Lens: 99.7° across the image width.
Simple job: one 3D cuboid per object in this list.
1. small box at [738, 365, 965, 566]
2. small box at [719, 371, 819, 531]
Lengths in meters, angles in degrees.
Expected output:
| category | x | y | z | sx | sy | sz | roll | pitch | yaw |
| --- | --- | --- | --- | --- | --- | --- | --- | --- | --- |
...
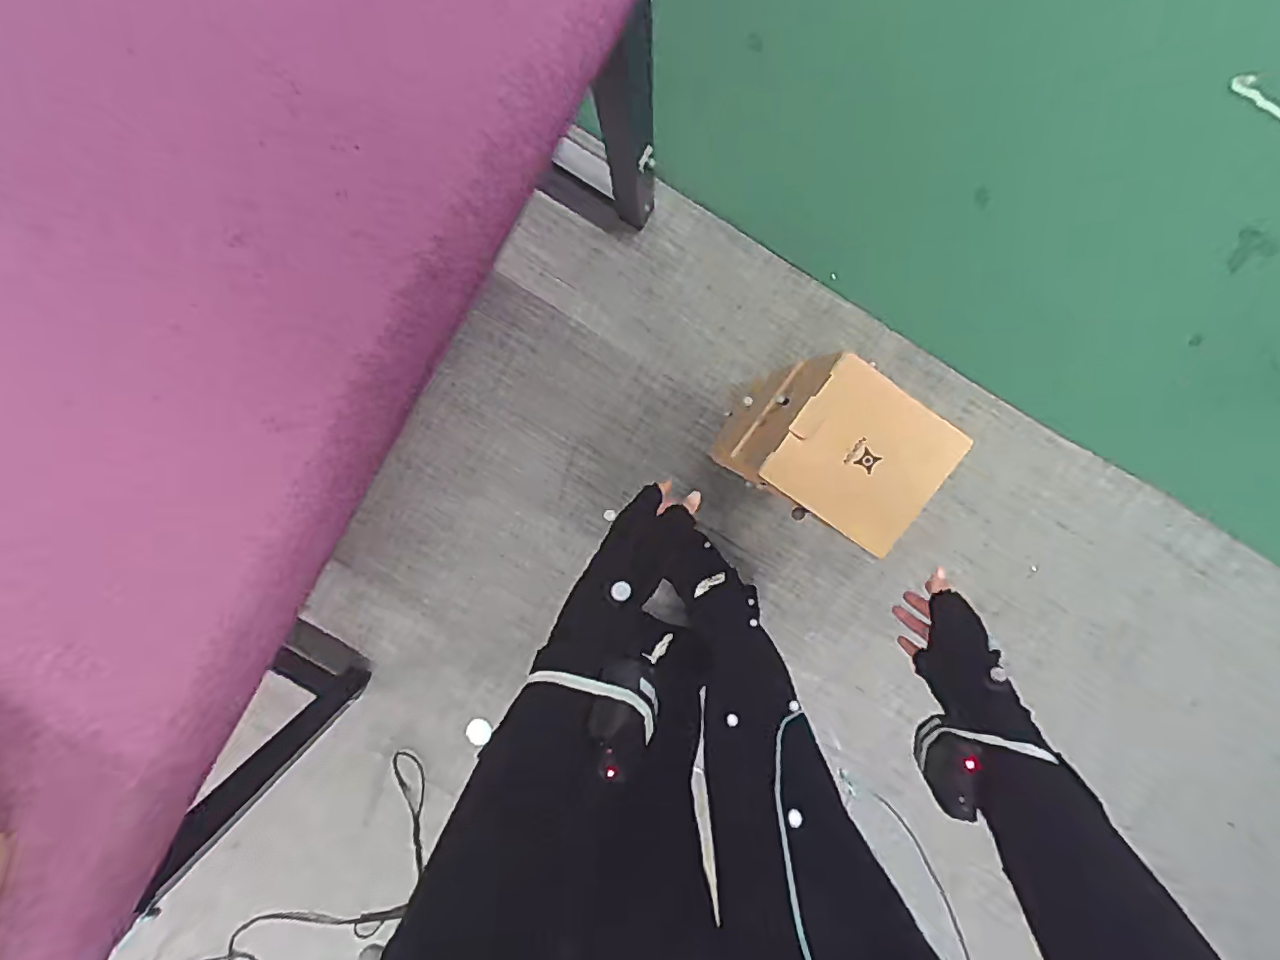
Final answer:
| category | x | y | z | sx | sy | sz | roll | pitch | yaw |
| --- | --- | --- | --- | --- | --- | --- | --- | --- | --- |
| small box | 0.246 | -0.026 | 0.678 | 0.179 | 0.176 | 0.168 | 35 | 98 | -3 |
| small box | 0.243 | -0.052 | 0.838 | 0.179 | 0.176 | 0.168 | 36 | 98 | -3 |
